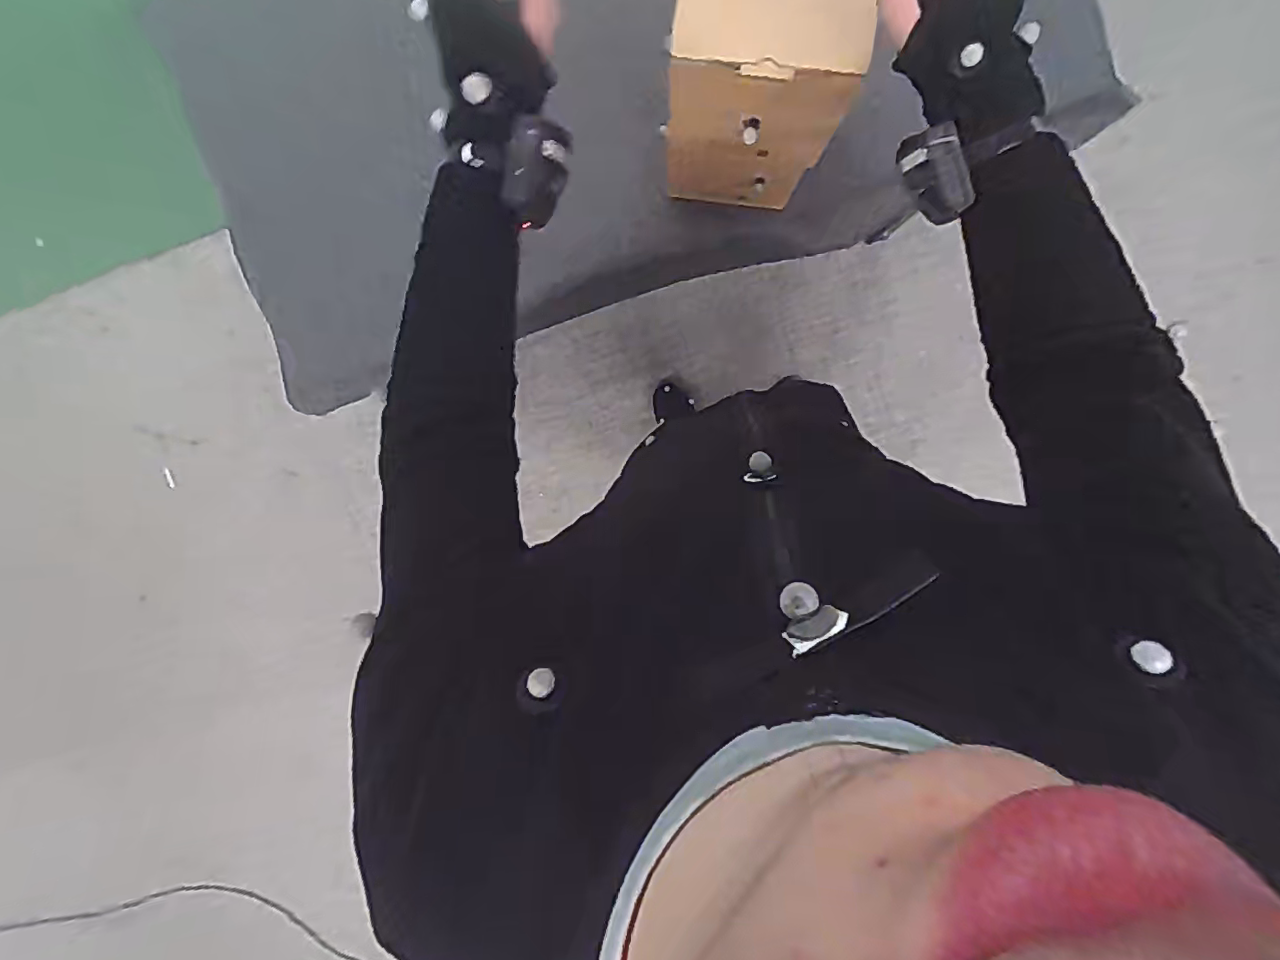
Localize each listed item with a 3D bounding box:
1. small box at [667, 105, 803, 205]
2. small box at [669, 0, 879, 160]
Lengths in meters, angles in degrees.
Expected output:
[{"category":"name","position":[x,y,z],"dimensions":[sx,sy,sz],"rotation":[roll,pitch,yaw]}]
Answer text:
[{"category":"small box","position":[0.126,-0.468,0.674],"dimensions":[0.168,0.176,0.179],"rotation":[7,97,1]},{"category":"small box","position":[0.122,-0.434,0.513],"dimensions":[0.168,0.176,0.179],"rotation":[8,99,1]}]
